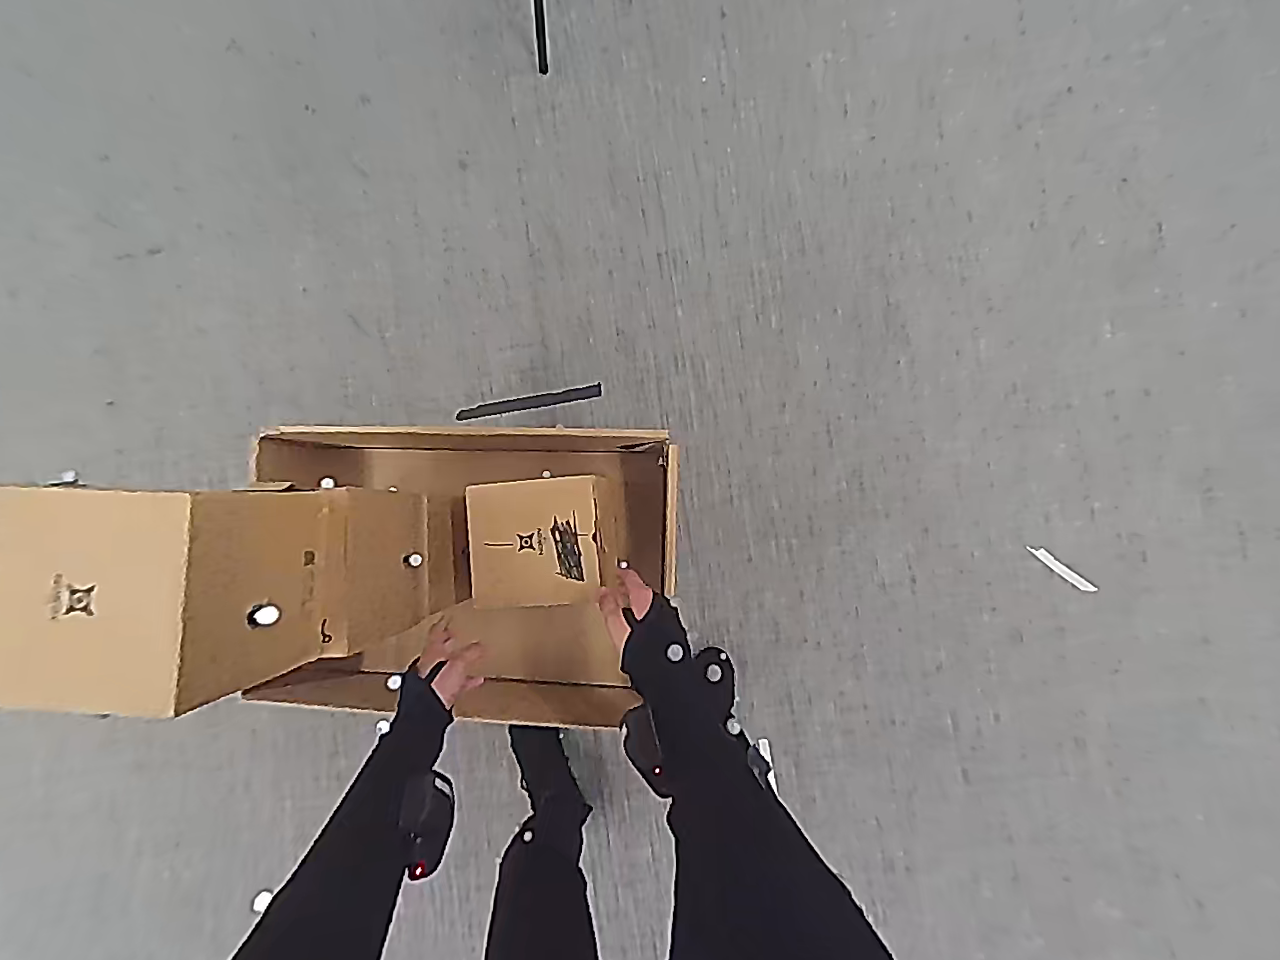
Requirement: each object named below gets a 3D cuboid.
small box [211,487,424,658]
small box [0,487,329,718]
[{"bbox_3d":[-0.372,0.102,0.638,0.168,0.176,0.179,-1,86,4],"label":"small box"},{"bbox_3d":[-0.408,0.092,0.477,0.179,0.176,0.168,1,87,4],"label":"small box"}]
